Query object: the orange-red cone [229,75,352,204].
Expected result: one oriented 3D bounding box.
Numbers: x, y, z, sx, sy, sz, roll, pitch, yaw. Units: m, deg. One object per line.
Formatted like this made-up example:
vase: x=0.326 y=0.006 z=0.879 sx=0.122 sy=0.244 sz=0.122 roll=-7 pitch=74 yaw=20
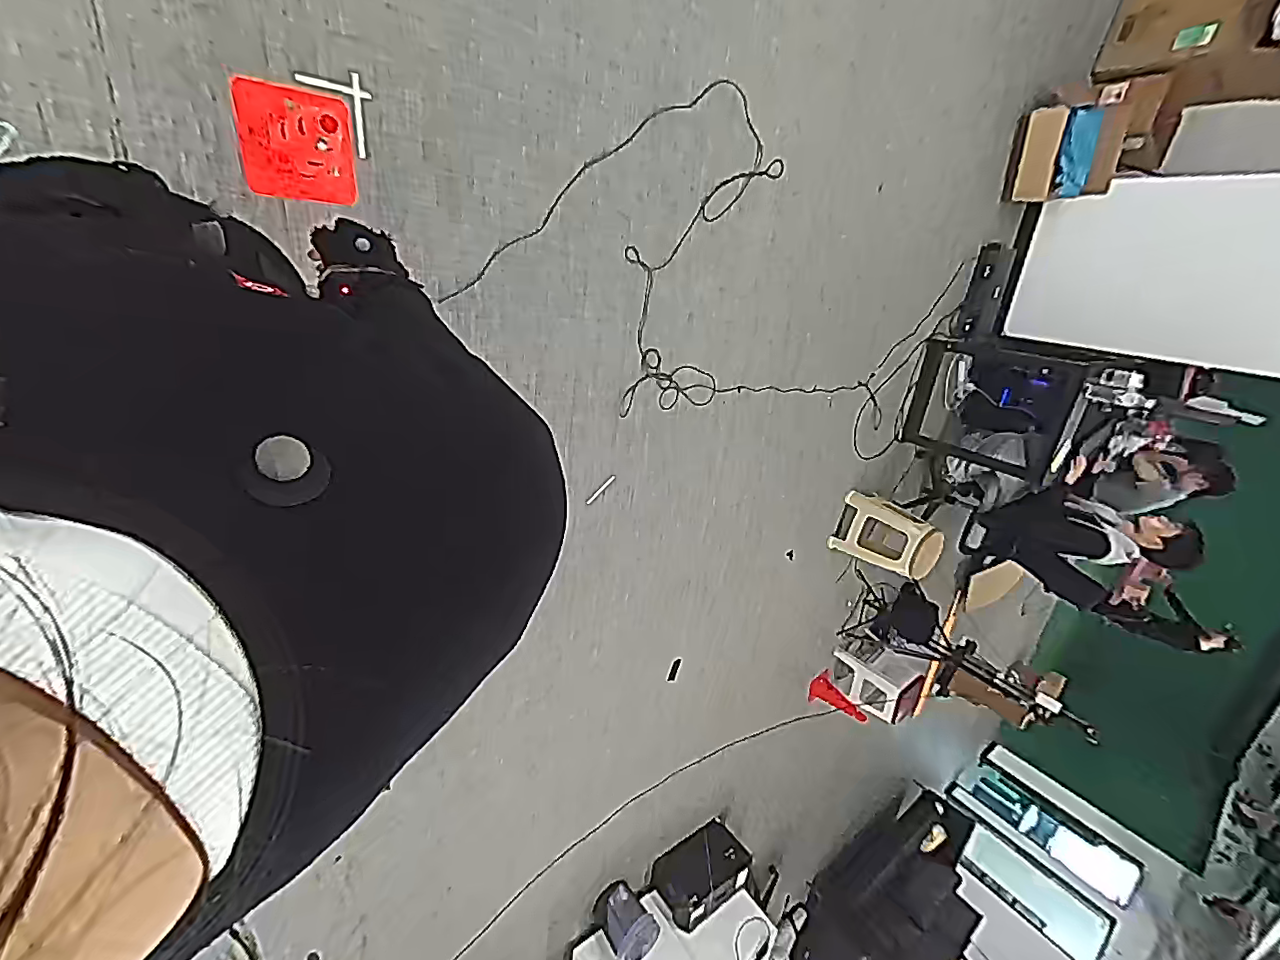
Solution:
orange-red cone: x=-0.591 y=-0.615 z=0.956 sx=0.199 sy=0.360 sz=0.198 roll=-9 pitch=115 yaw=-35
